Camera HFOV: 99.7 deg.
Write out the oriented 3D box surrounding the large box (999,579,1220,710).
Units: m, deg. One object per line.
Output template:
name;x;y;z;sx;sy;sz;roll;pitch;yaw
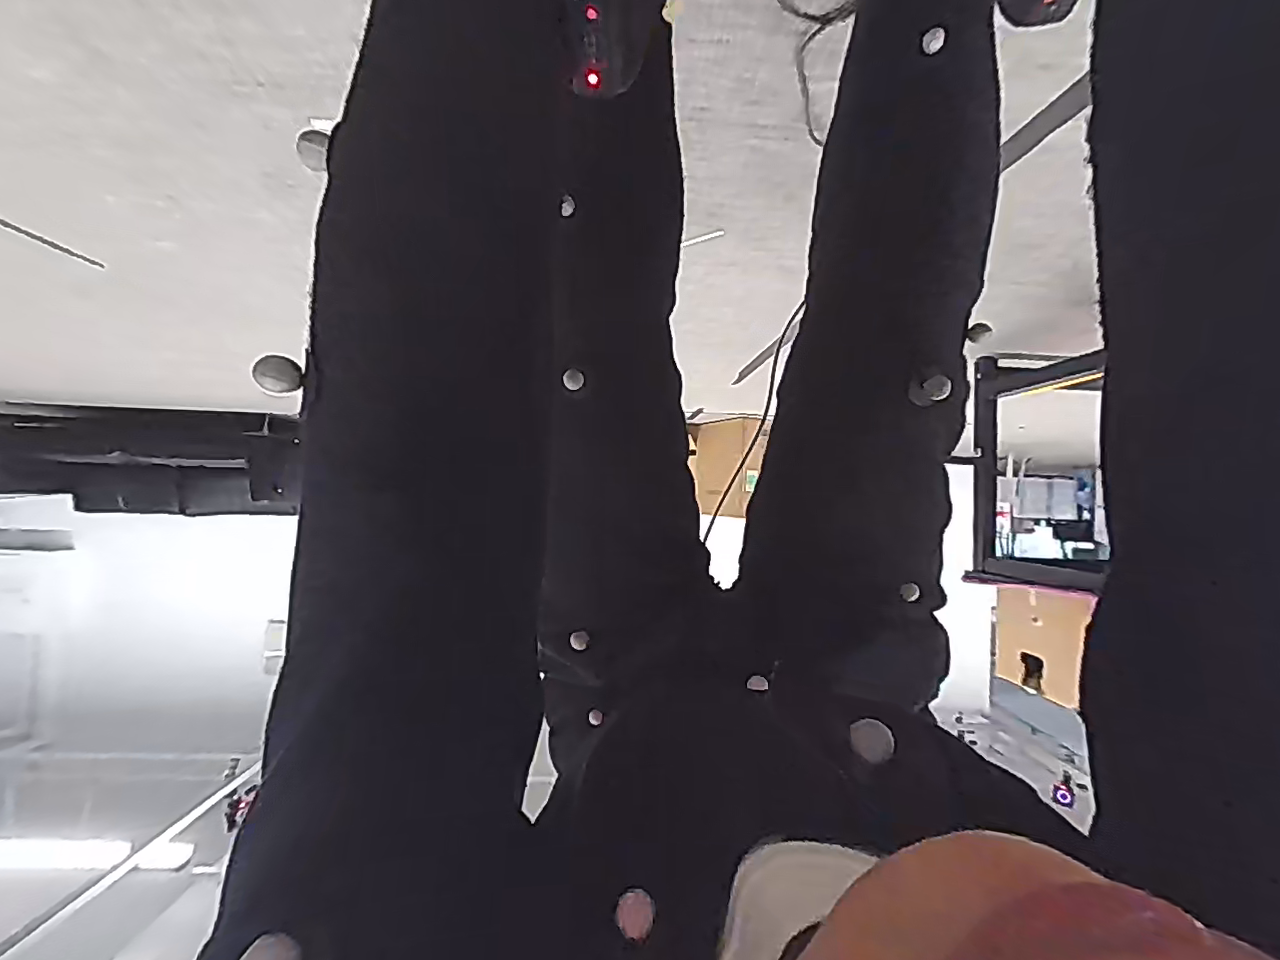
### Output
large box;1.361;0.470;1.604;0.408;0.320;0.320;1;179;-2
